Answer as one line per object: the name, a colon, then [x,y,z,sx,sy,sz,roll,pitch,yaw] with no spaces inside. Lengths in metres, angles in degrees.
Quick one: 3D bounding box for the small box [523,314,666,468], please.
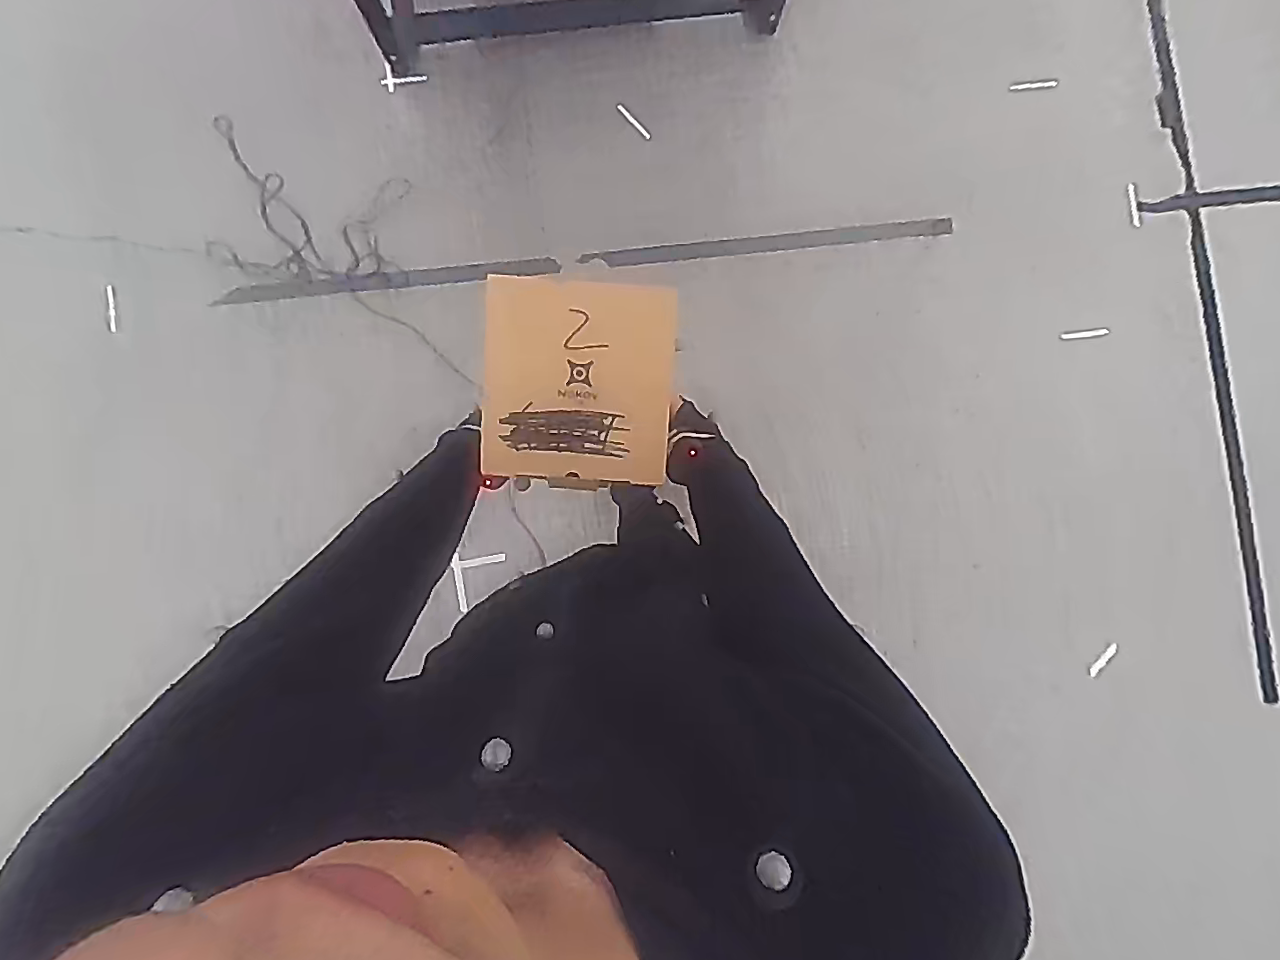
small box: [-0.057,-0.111,0.712,0.168,0.176,0.179,1,96,-1]
